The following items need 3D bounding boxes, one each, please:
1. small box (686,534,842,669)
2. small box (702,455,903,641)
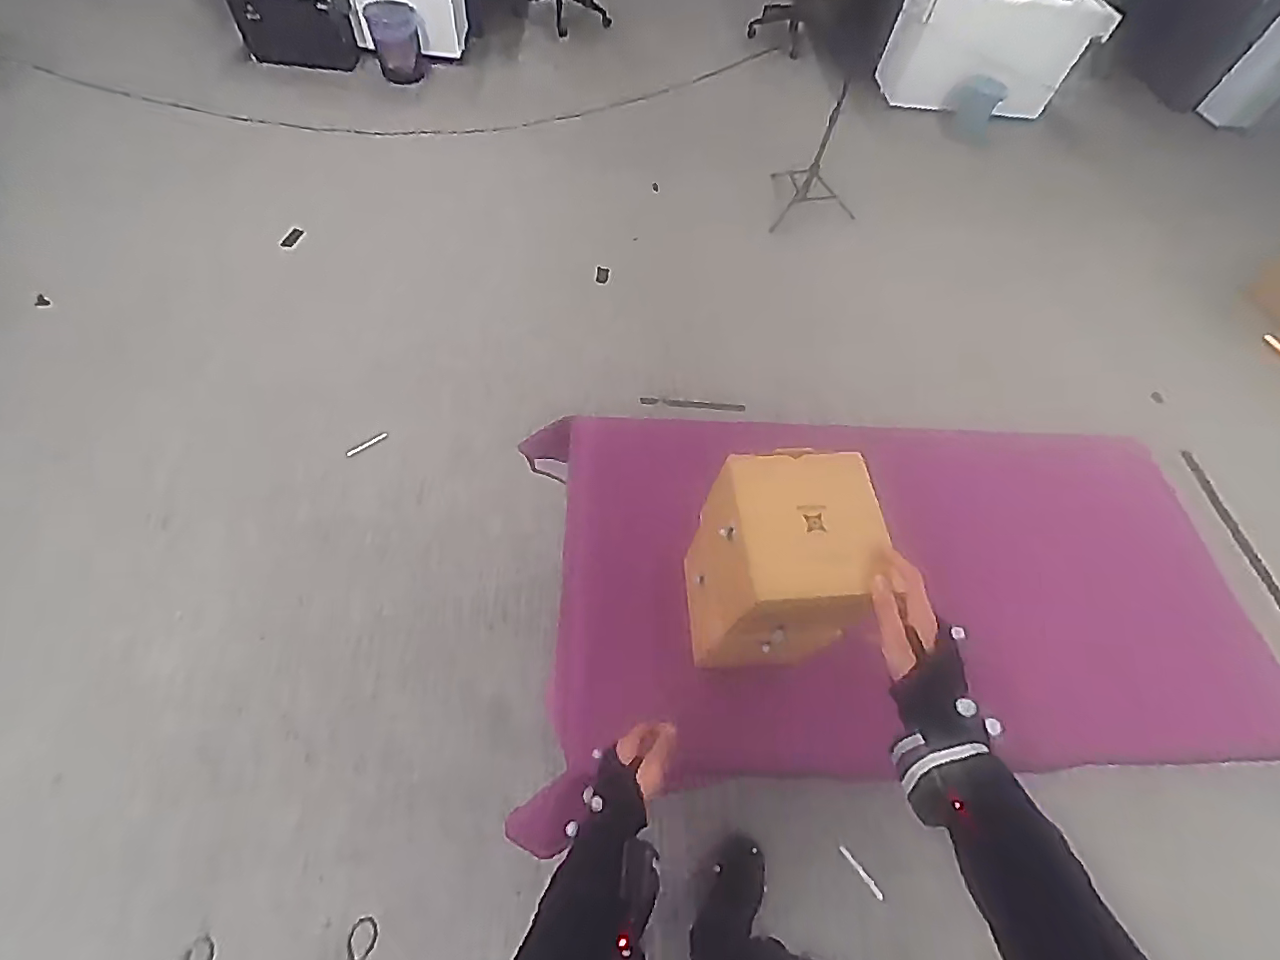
[{"bbox_3d":[0.169,0.171,0.804,0.168,0.176,0.179,0,59,-7],"label":"small box"},{"bbox_3d":[0.180,0.086,0.663,0.168,0.176,0.179,-1,61,-7],"label":"small box"}]
